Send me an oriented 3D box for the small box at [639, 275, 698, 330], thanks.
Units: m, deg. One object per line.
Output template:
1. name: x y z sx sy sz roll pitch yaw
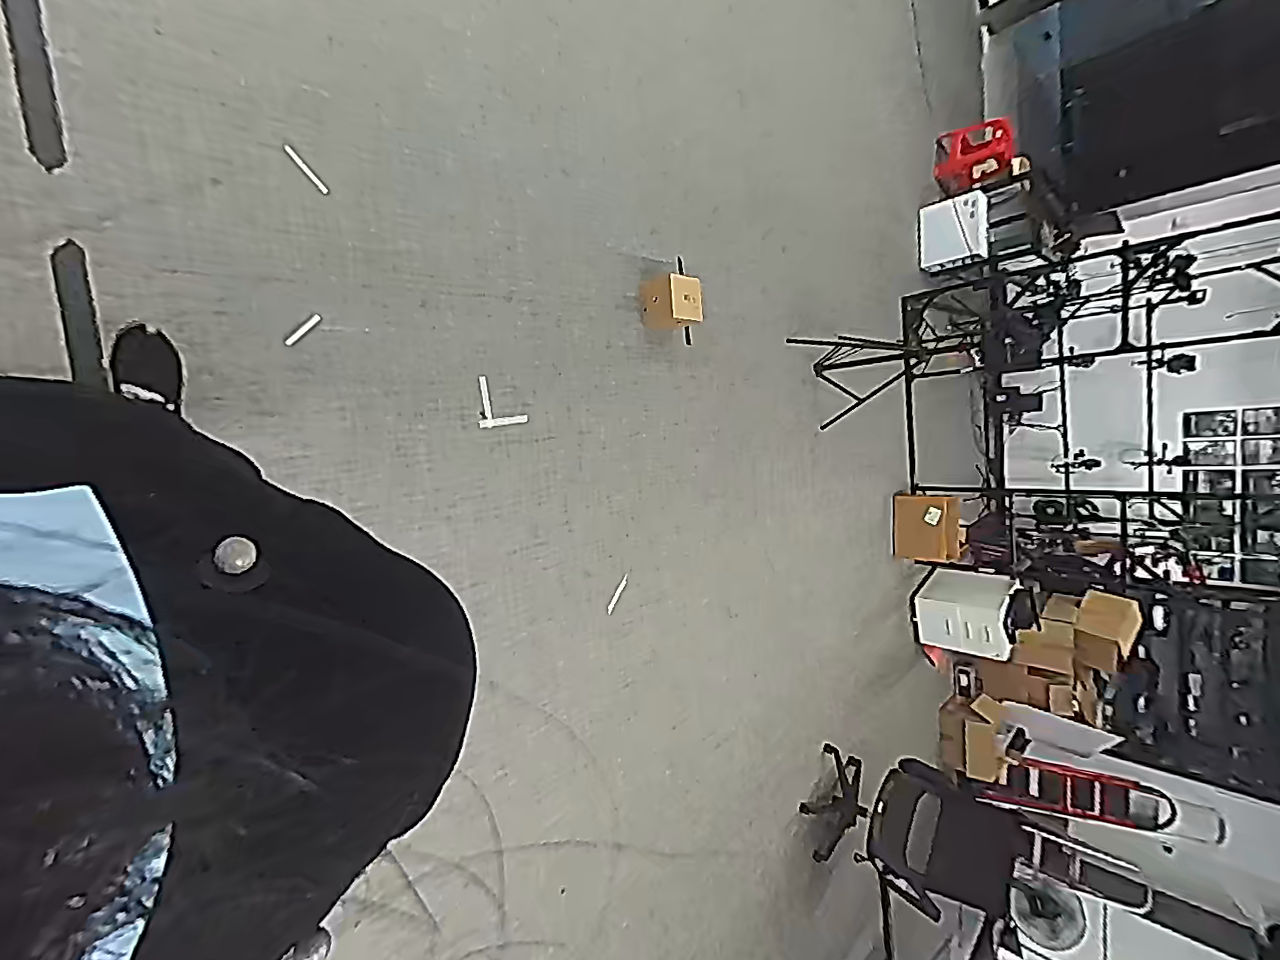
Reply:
1. small box: 0.107 -0.692 2.127 0.179 0.176 0.168 -8 97 -44
